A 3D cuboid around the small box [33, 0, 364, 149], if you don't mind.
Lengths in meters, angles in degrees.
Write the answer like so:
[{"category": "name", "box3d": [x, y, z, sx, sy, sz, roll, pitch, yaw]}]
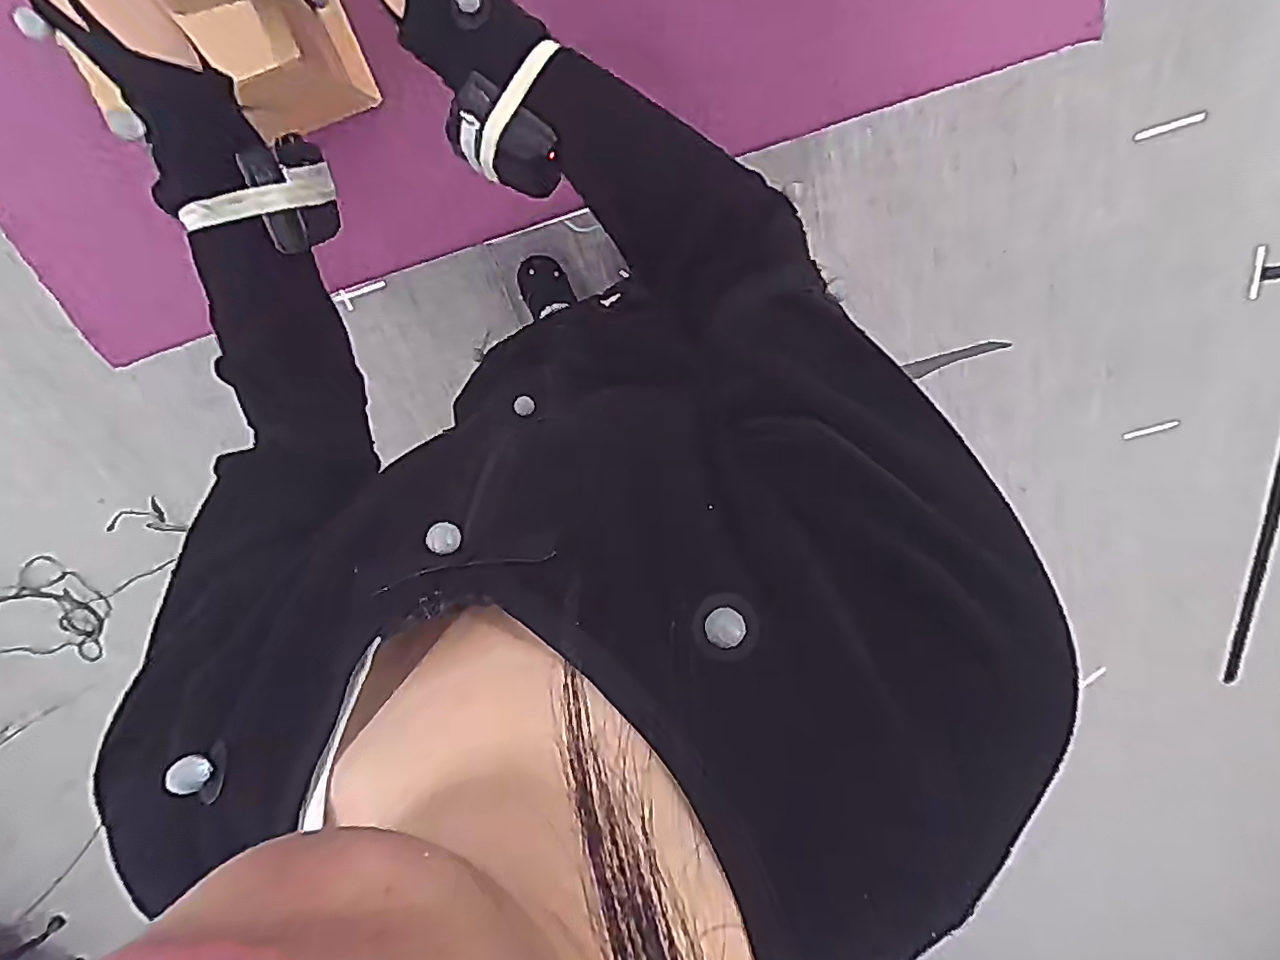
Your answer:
[{"category": "small box", "box3d": [-0.376, -0.415, 0.475, 0.179, 0.176, 0.168, -17, 115, 6]}]
